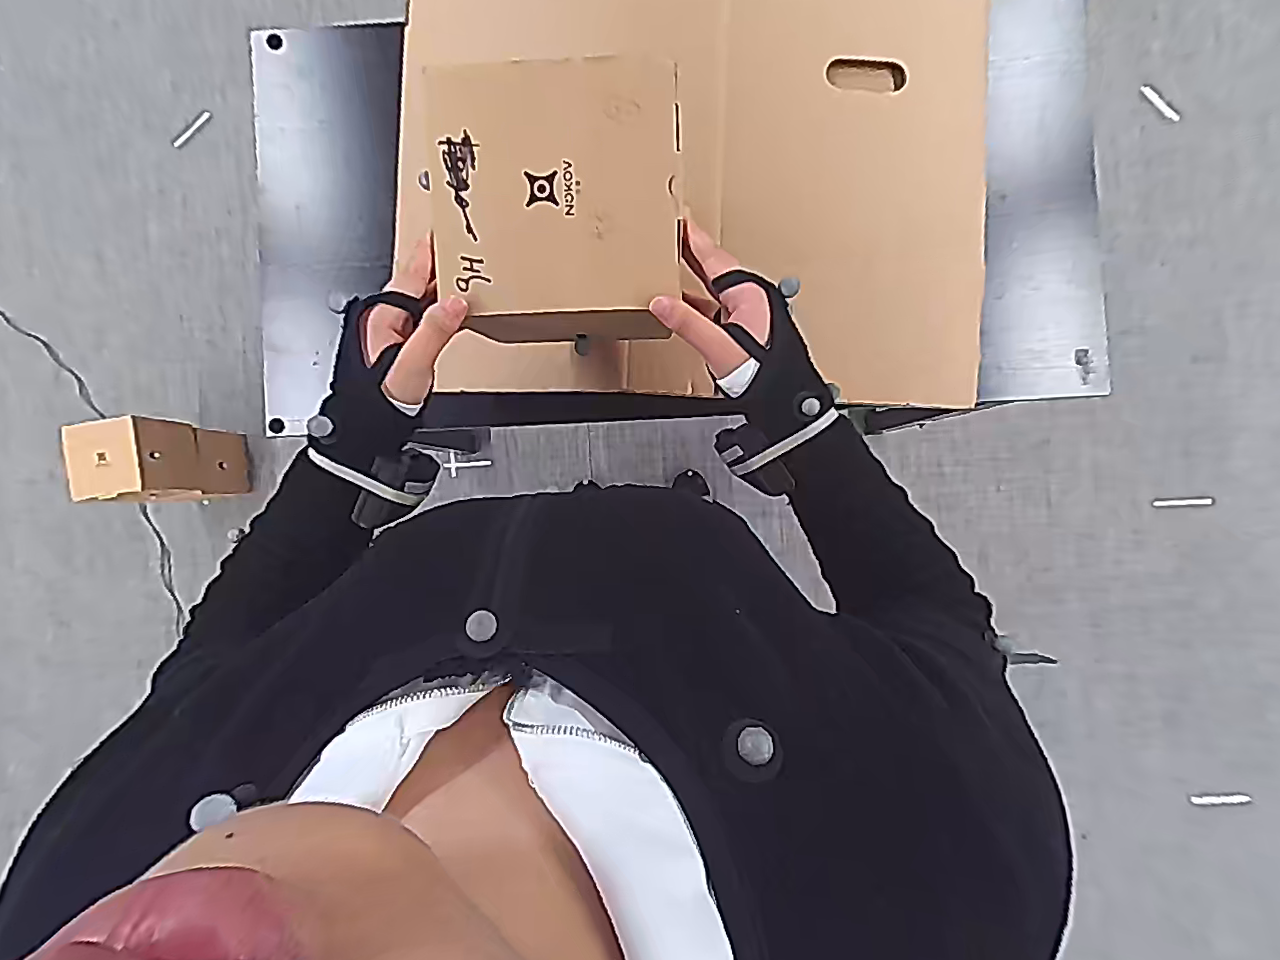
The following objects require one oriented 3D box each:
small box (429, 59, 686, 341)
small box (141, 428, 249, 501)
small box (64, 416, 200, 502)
[{"bbox_3d":[-0.057,-0.214,0.457,0.179,0.176,0.168,-2,96,0],"label":"small box"},{"bbox_3d":[-1.199,-0.037,1.459,0.168,0.176,0.179,-7,89,1],"label":"small box"},{"bbox_3d":[-1.204,-0.046,1.296,0.168,0.176,0.179,-9,88,1],"label":"small box"}]
